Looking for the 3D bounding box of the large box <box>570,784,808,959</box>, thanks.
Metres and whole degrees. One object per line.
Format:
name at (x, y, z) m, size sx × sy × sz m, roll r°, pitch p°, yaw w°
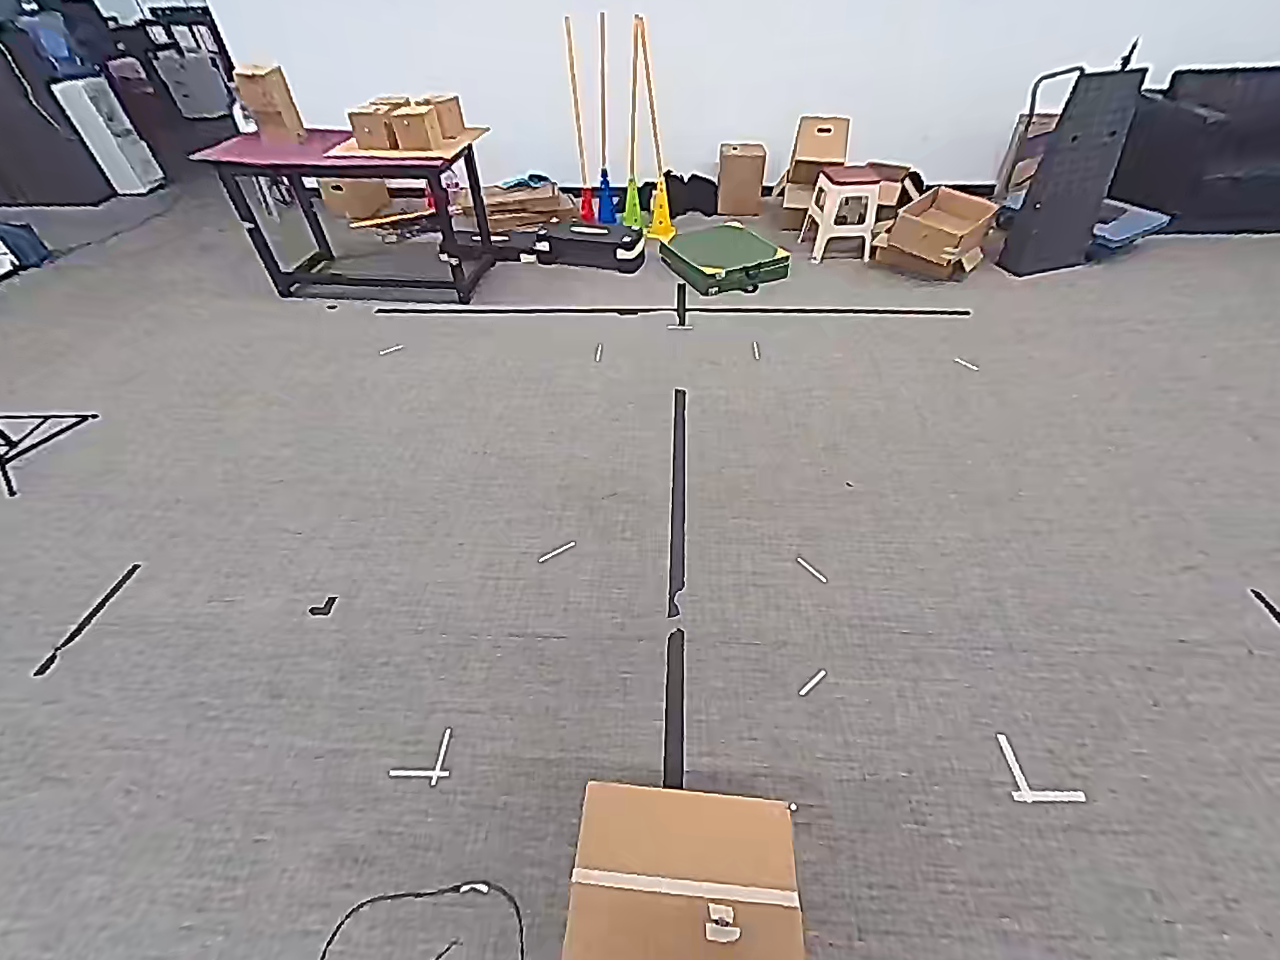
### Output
large box at (0.090, 0.839, 1.075) m, size 0.408 × 0.320 × 0.320 m, roll 4°, pitch 45°, yaw 4°
